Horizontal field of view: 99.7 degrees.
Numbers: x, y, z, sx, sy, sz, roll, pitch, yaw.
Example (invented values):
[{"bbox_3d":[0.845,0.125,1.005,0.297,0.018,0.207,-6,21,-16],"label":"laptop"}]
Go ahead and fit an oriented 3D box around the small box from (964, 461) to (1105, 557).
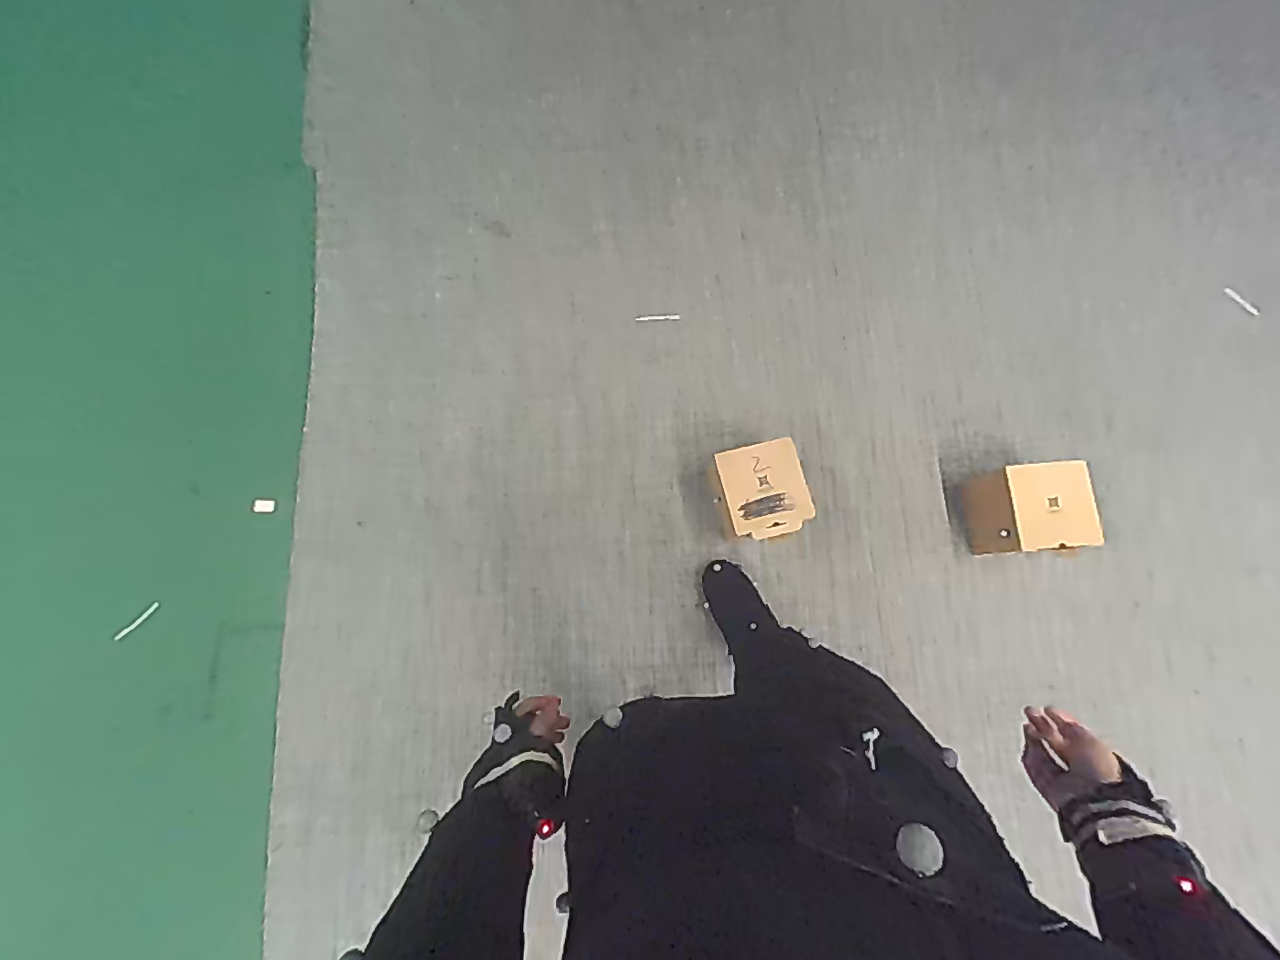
[{"bbox_3d":[0.821,0.067,1.146,0.168,0.176,0.179,-4,80,0],"label":"small box"}]
